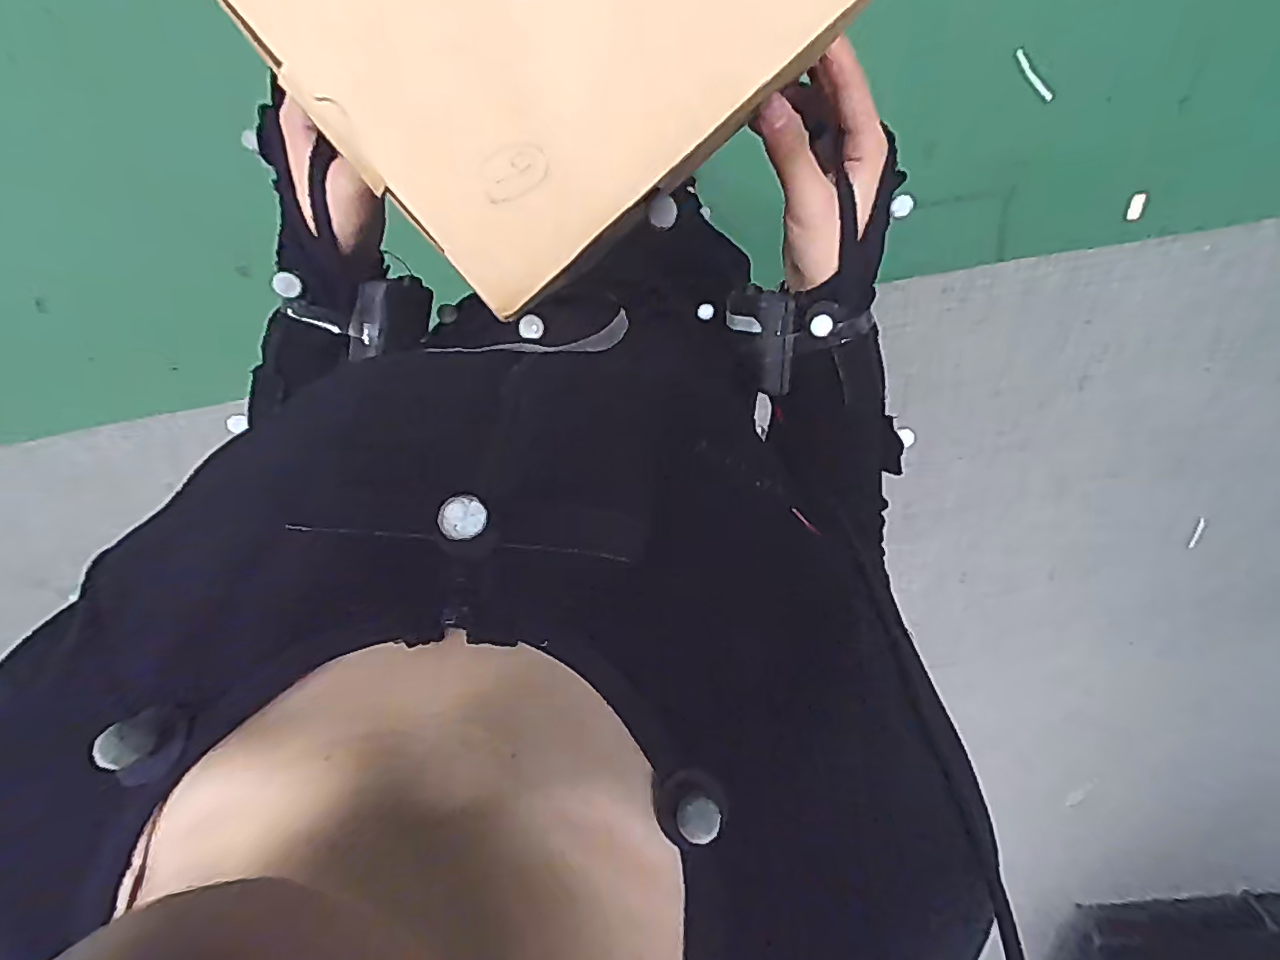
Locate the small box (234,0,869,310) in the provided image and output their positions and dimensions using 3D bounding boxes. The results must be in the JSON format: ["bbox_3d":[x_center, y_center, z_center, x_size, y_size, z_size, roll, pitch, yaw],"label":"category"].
[{"bbox_3d":[-0.030,-0.202,0.230,0.179,0.176,0.168,-35,110,18],"label":"small box"}]
